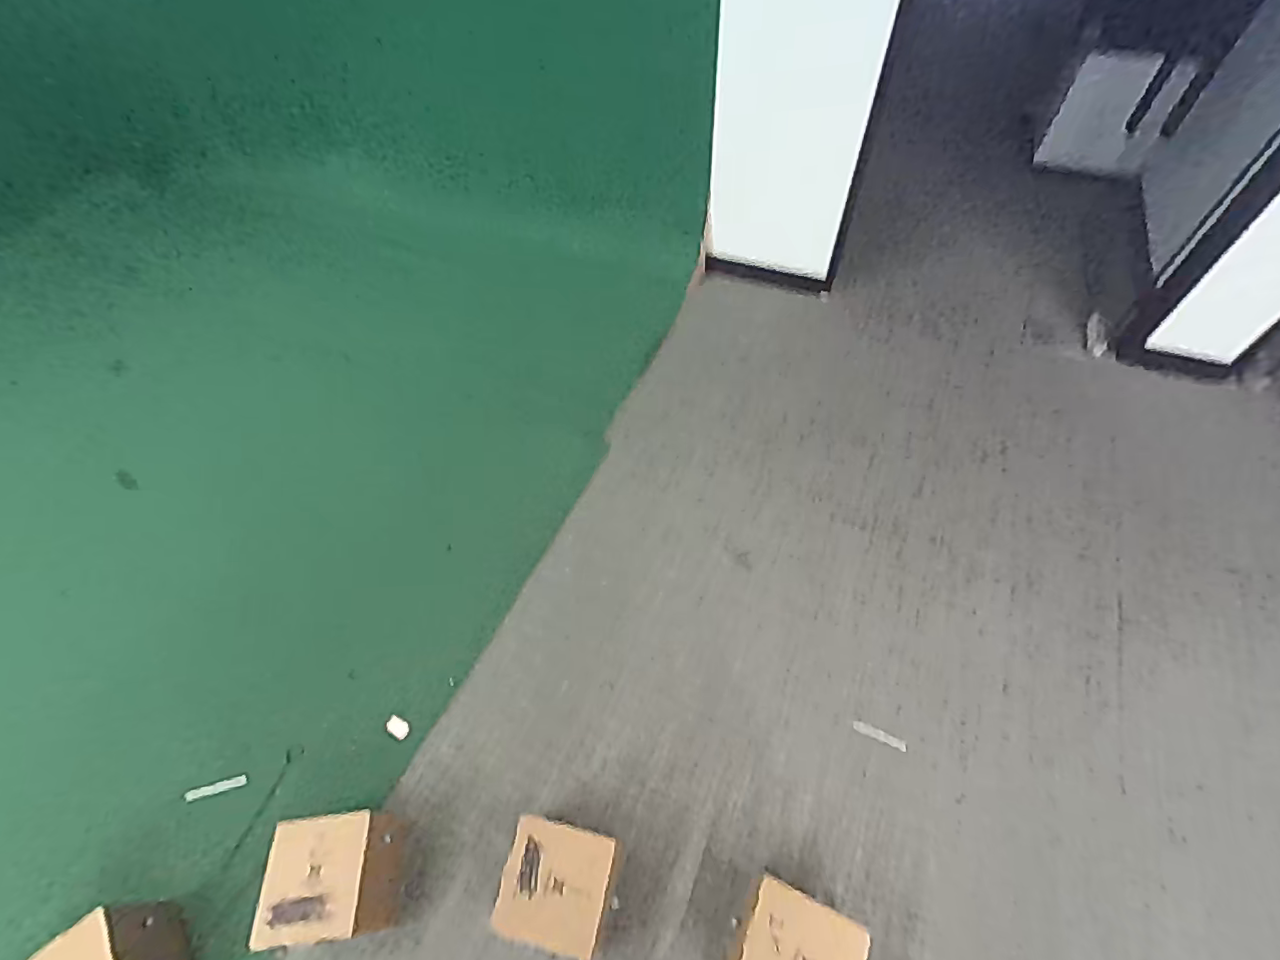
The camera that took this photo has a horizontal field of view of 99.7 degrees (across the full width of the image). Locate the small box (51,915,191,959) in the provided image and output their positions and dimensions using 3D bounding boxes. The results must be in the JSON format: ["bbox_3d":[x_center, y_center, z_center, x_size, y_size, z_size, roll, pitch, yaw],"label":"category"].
[{"bbox_3d":[-0.883,0.867,0.892,0.168,0.176,0.179,-36,59,-21],"label":"small box"}]

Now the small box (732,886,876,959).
[{"bbox_3d":[0.254,0.791,0.876,0.179,0.176,0.168,20,56,17],"label":"small box"}]

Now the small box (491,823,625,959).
[{"bbox_3d":[-0.132,0.726,0.948,0.179,0.176,0.168,10,55,9],"label":"small box"}]
